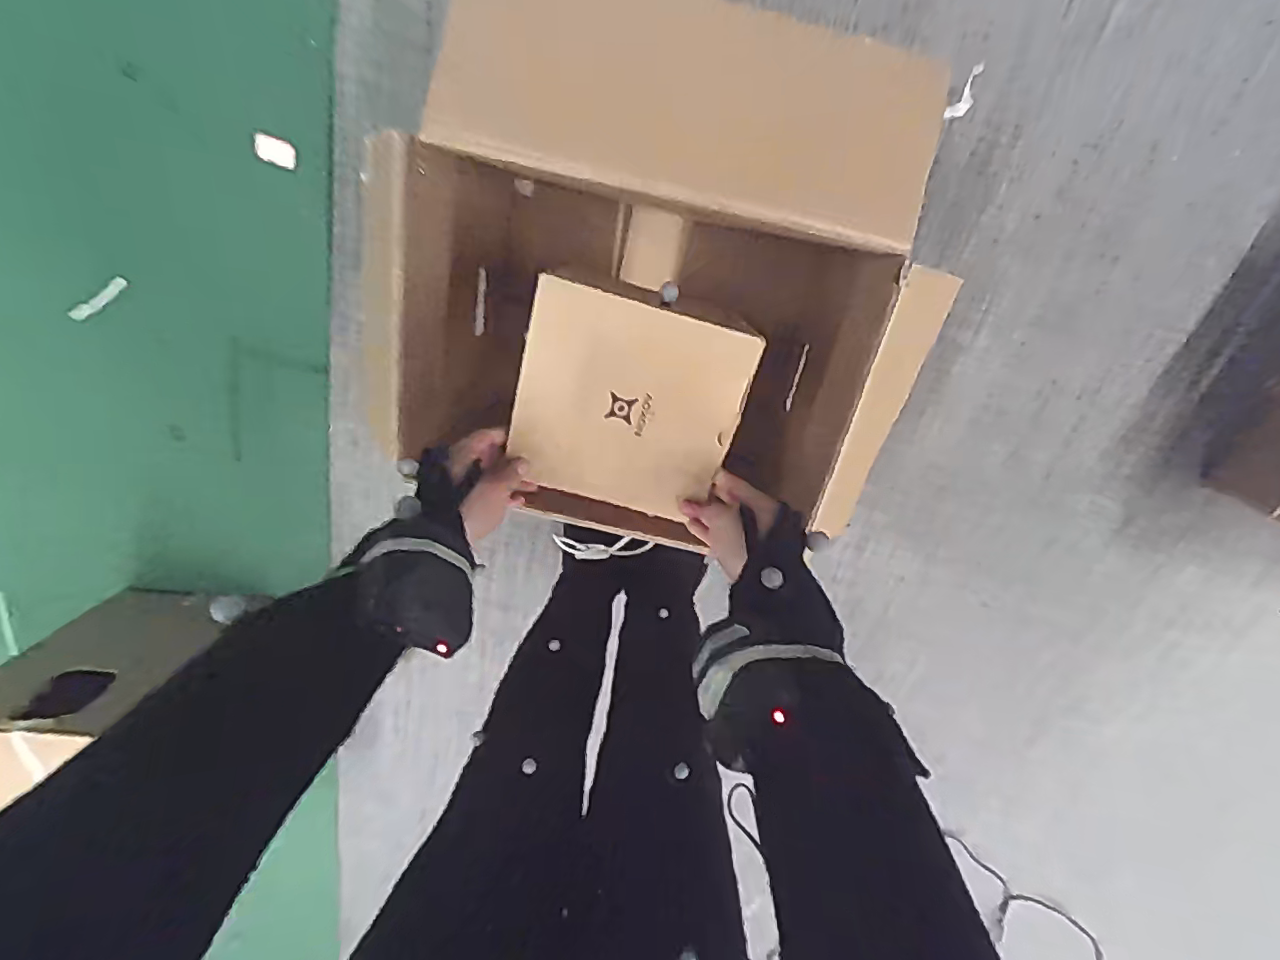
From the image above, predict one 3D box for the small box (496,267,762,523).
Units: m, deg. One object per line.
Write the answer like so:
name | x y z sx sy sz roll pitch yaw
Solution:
small box | -0.013 -0.086 0.500 0.179 0.176 0.168 16 112 -6
